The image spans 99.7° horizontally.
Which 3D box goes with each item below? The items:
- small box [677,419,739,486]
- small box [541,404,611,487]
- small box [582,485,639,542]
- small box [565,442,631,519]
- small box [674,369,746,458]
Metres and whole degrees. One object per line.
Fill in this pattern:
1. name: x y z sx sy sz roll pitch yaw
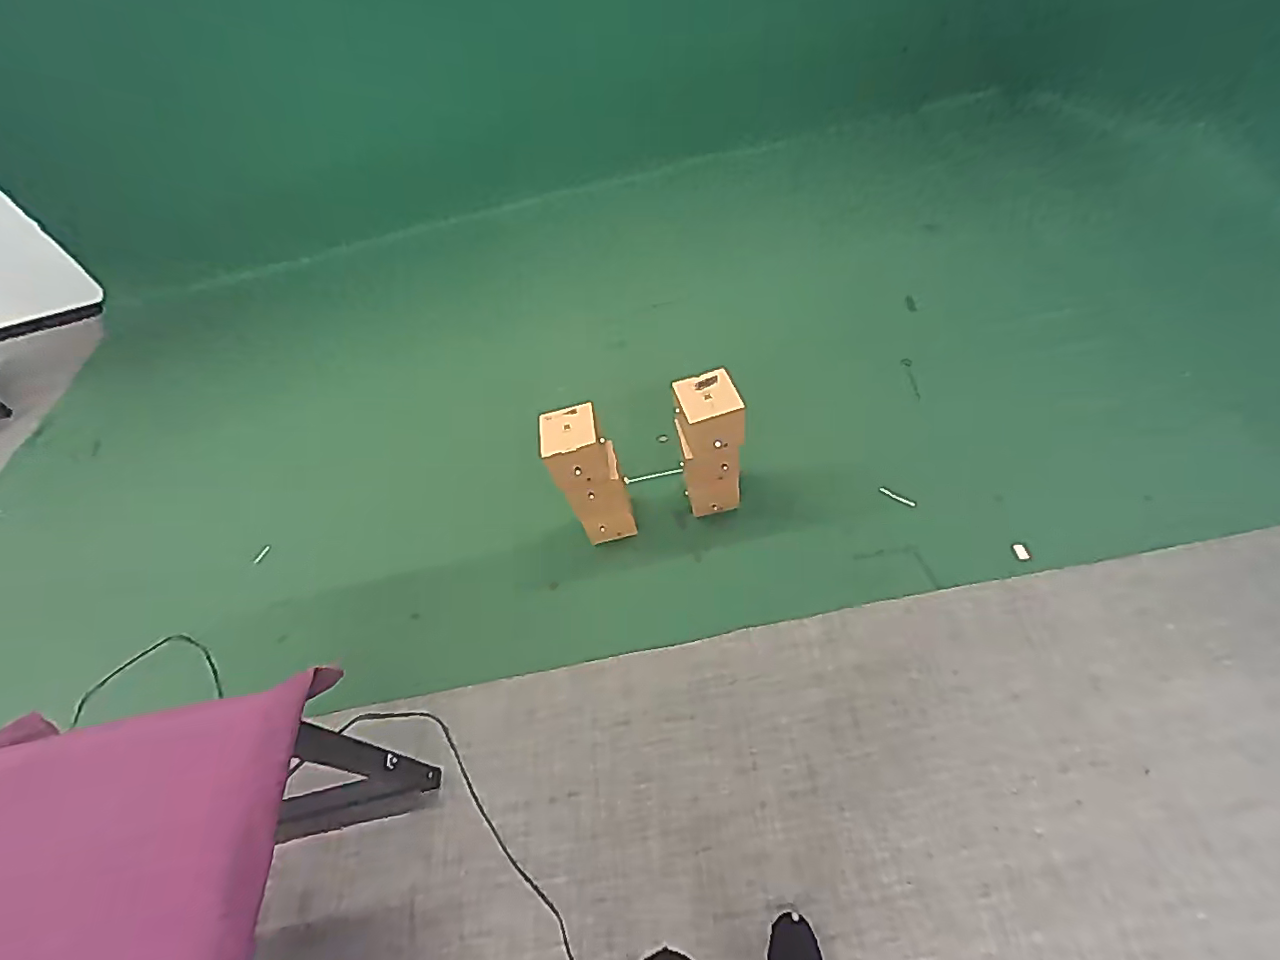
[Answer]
1. small box: 0.222 -0.098 1.753 0.168 0.176 0.179 -13 52 2
2. small box: -0.192 -0.097 1.640 0.168 0.176 0.179 -14 52 4
3. small box: -0.108 0.101 1.889 0.168 0.176 0.179 -14 51 3
4. small box: -0.140 0.007 1.758 0.179 0.176 0.168 -14 52 2
5. small box: 0.210 -0.197 1.623 0.168 0.176 0.179 -17 54 -1
